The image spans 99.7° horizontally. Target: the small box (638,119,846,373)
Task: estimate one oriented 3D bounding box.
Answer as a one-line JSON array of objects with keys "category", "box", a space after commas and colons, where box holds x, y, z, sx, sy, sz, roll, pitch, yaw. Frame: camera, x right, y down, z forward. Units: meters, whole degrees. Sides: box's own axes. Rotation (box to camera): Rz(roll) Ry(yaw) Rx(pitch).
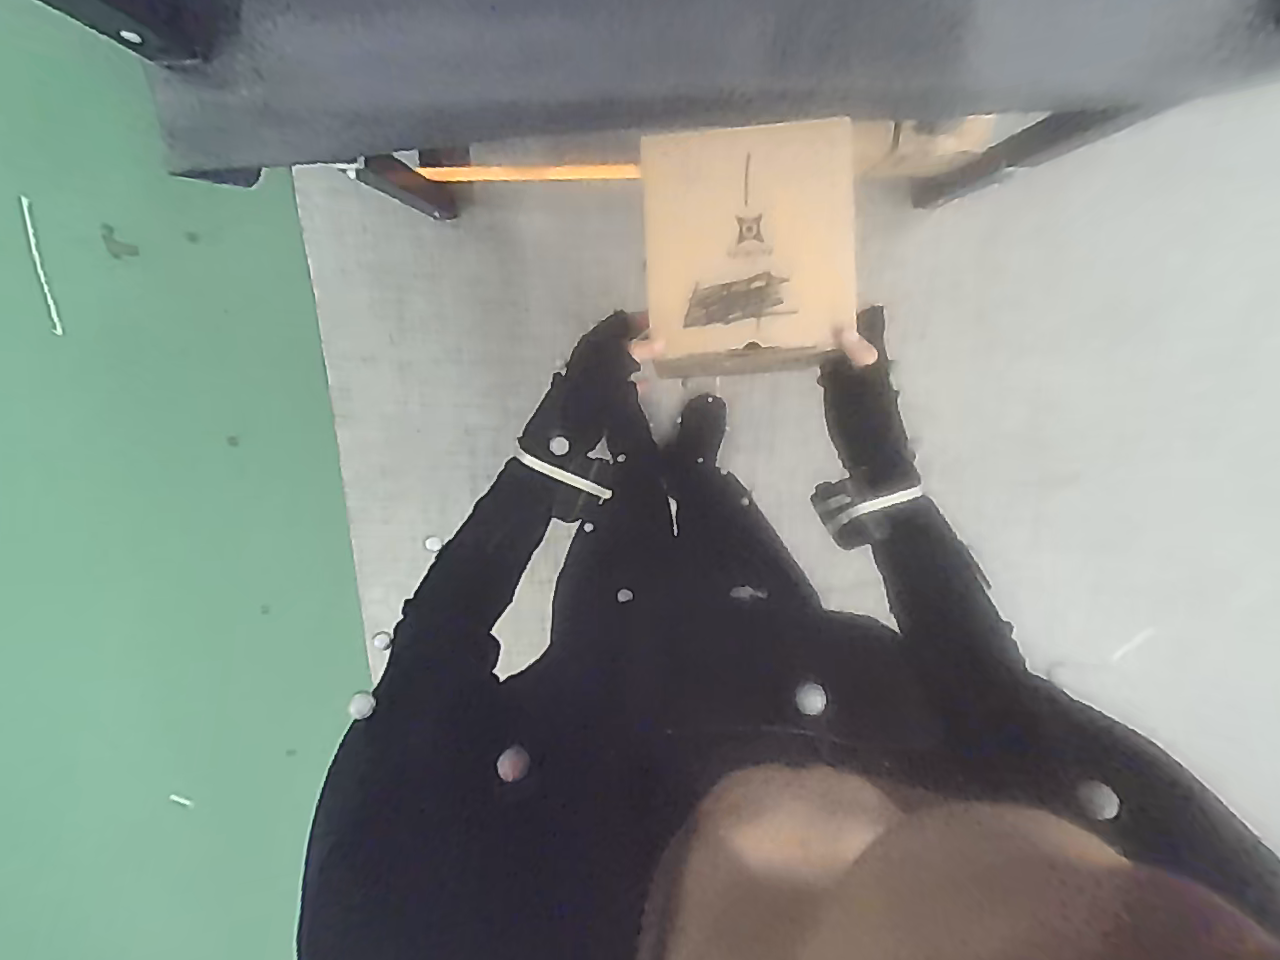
[{"category": "small box", "box": [0.088, -0.199, 0.514, 0.168, 0.176, 0.179, -2, 93, 4]}]
